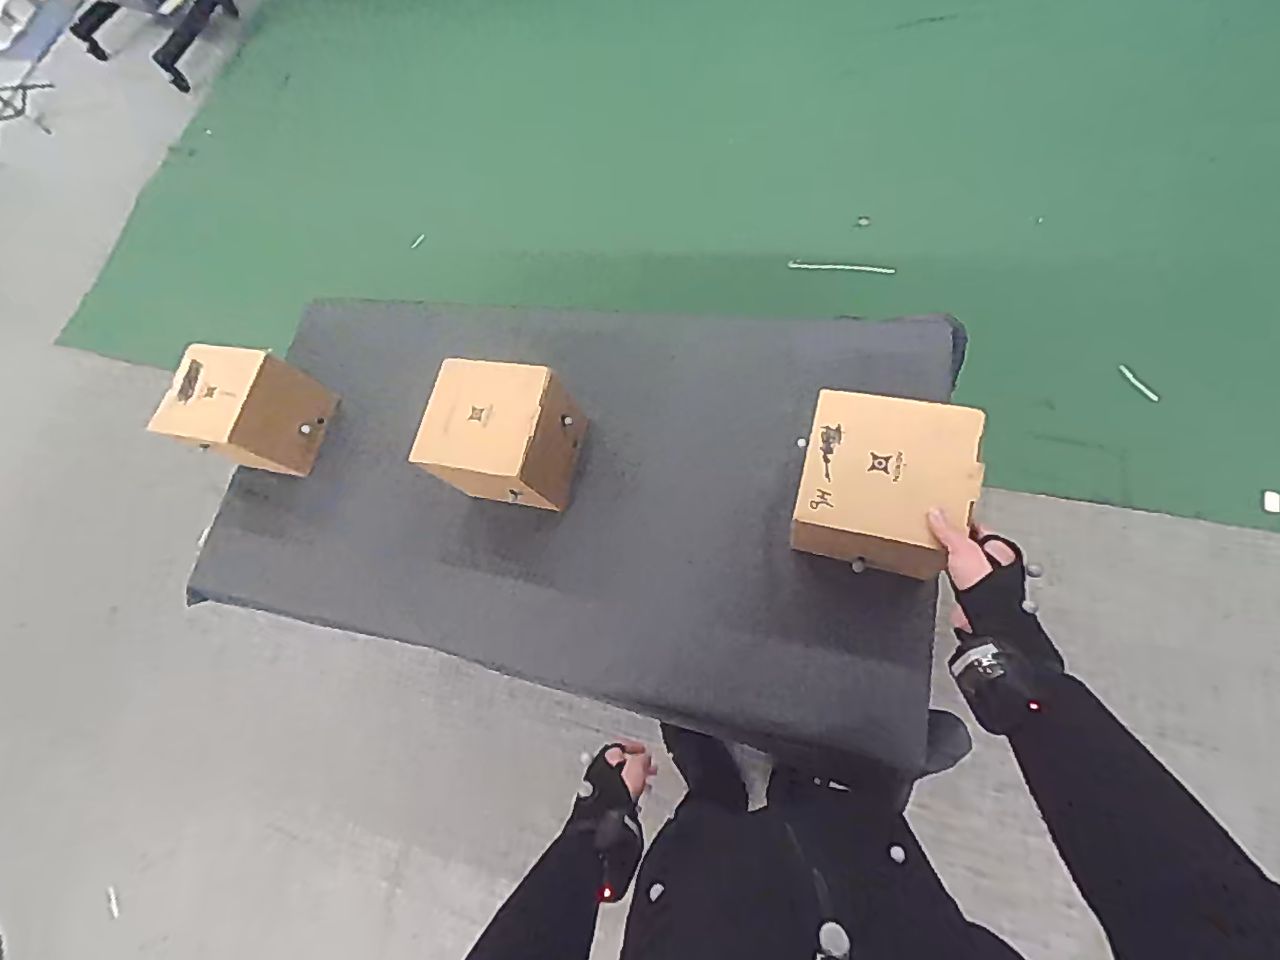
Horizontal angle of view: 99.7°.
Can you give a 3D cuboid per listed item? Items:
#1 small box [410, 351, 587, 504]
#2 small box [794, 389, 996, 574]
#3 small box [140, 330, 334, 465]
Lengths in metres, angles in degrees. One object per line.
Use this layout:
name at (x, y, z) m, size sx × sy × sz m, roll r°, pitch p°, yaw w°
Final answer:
small box at (-0.196, -0.071, 0.804) m, size 0.179 × 0.176 × 0.168 m, roll 8°, pitch 73°, yaw 17°
small box at (0.296, 0.011, 0.661) m, size 0.179 × 0.176 × 0.168 m, roll 13°, pitch 76°, yaw 16°
small box at (-0.680, -0.137, 0.932) m, size 0.179 × 0.176 × 0.168 m, roll 10°, pitch 75°, yaw 14°
